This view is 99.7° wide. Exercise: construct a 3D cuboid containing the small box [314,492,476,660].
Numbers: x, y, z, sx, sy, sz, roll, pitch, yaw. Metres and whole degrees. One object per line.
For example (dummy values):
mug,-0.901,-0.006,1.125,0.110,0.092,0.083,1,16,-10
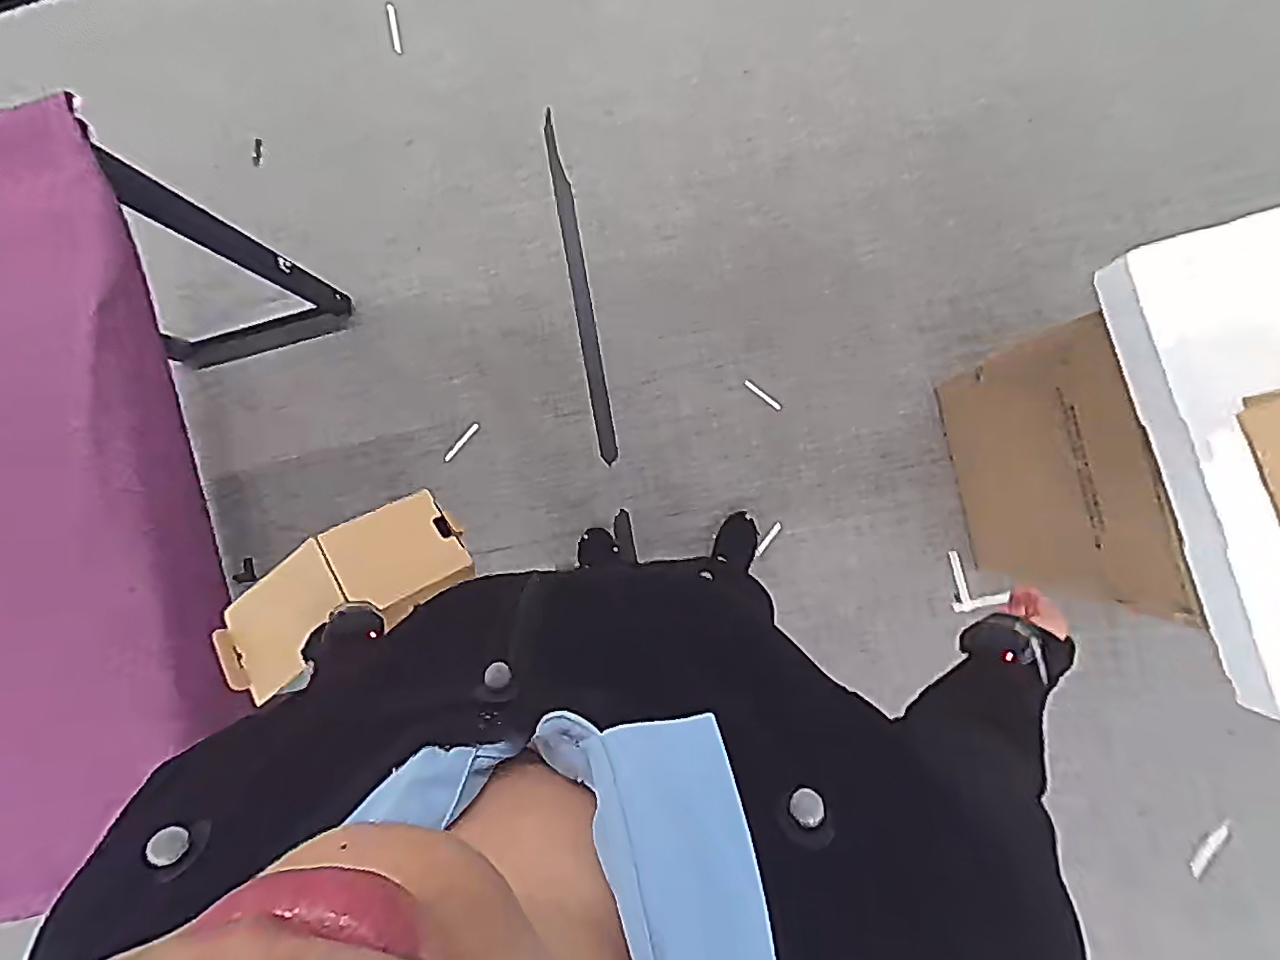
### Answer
small box,-0.380,0.156,0.865,0.179,0.176,0.168,-27,63,-29
